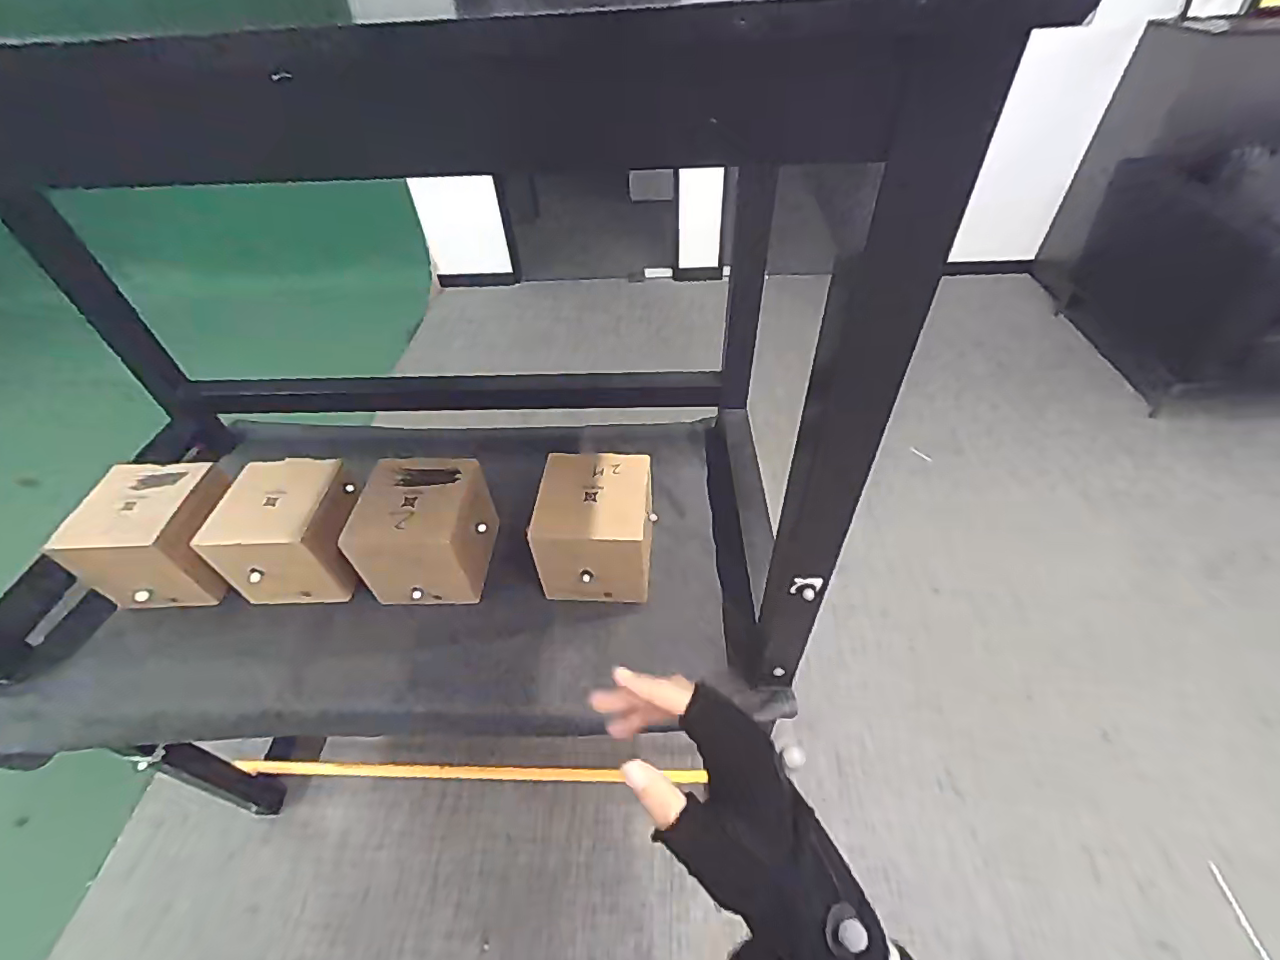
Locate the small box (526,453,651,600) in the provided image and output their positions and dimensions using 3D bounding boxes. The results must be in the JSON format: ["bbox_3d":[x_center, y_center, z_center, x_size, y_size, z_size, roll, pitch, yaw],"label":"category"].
[{"bbox_3d":[-0.071,0.077,0.871,0.168,0.176,0.179,2,46,5],"label":"small box"}]

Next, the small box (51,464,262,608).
[{"bbox_3d":[-0.779,0.094,0.902,0.168,0.176,0.179,-3,46,1],"label":"small box"}]
